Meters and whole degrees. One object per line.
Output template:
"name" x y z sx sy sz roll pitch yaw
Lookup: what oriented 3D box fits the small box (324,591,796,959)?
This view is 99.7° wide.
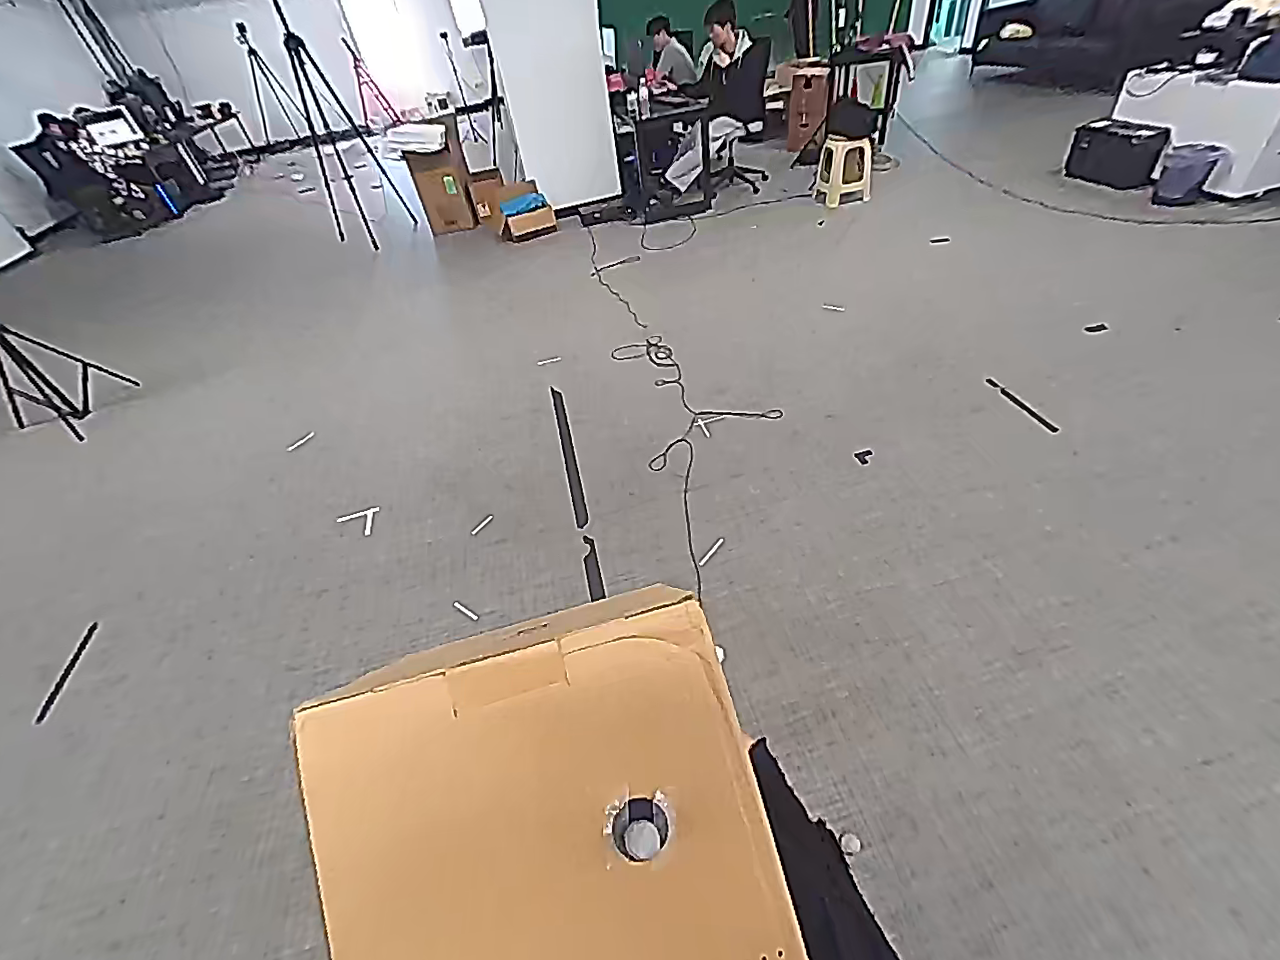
"small box" -0.034 0.170 0.299 0.168 0.179 0.176 -15 81 -5
